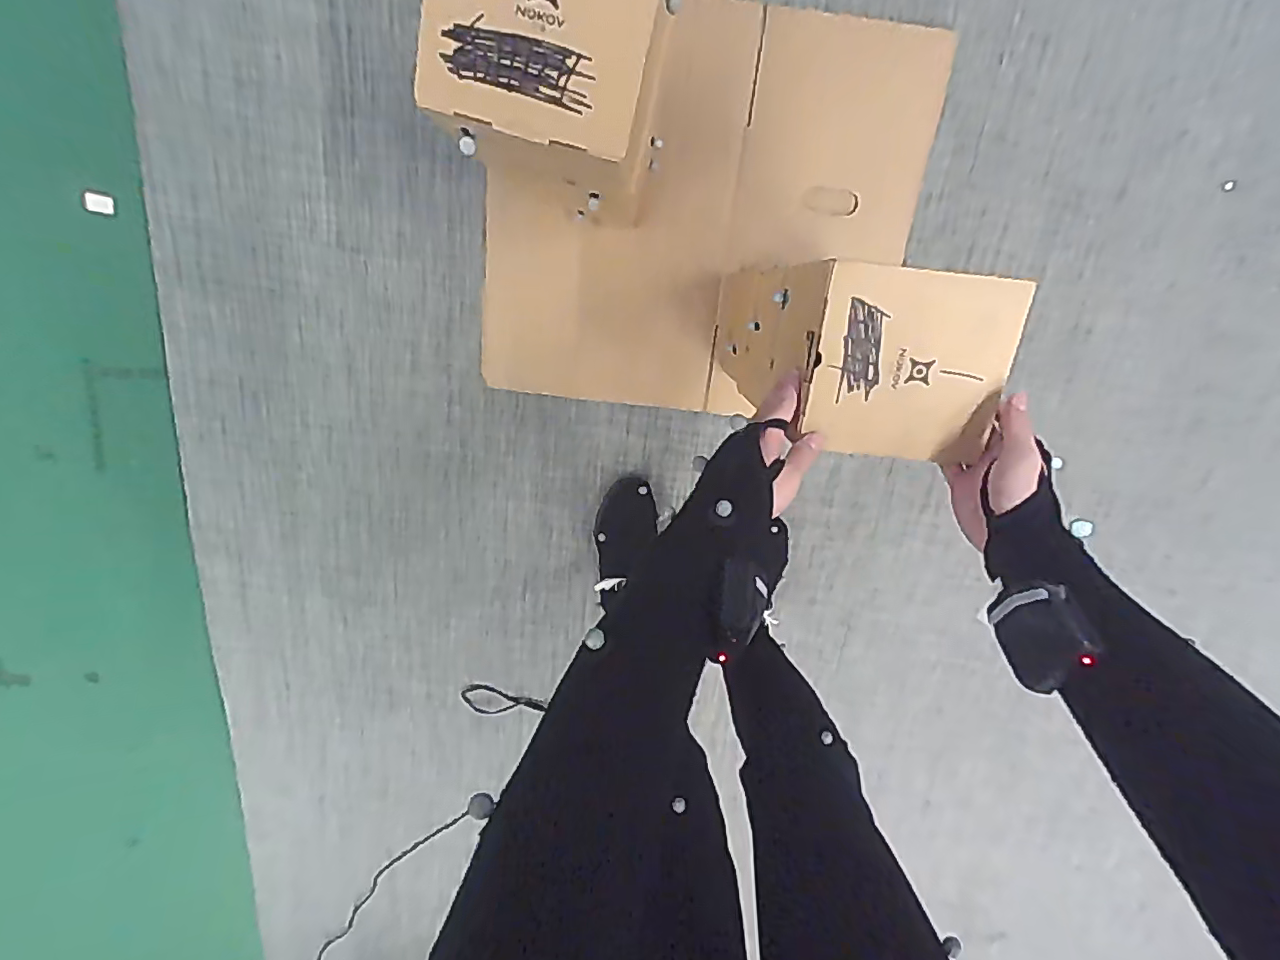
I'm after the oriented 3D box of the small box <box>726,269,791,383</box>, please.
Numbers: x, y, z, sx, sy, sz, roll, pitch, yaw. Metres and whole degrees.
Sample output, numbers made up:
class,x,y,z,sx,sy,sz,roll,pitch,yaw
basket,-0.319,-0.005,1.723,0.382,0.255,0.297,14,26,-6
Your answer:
class,x,y,z,sx,sy,sz,roll,pitch,yaw
small box,0.243,-0.233,0.859,0.179,0.176,0.168,7,108,-2

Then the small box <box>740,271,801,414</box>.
class,x,y,z,sx,sy,sz,roll,pitch,yaw
small box,0.242,-0.175,0.708,0.179,0.176,0.168,7,109,-1

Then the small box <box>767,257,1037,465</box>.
class,x,y,z,sx,sy,sz,roll,pitch,yaw
small box,0.240,-0.124,0.551,0.179,0.176,0.168,6,109,-2

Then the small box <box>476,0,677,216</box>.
class,x,y,z,sx,sy,sz,roll,pitch,yaw
small box,-0.068,-0.417,0.620,0.179,0.176,0.168,14,107,-5
